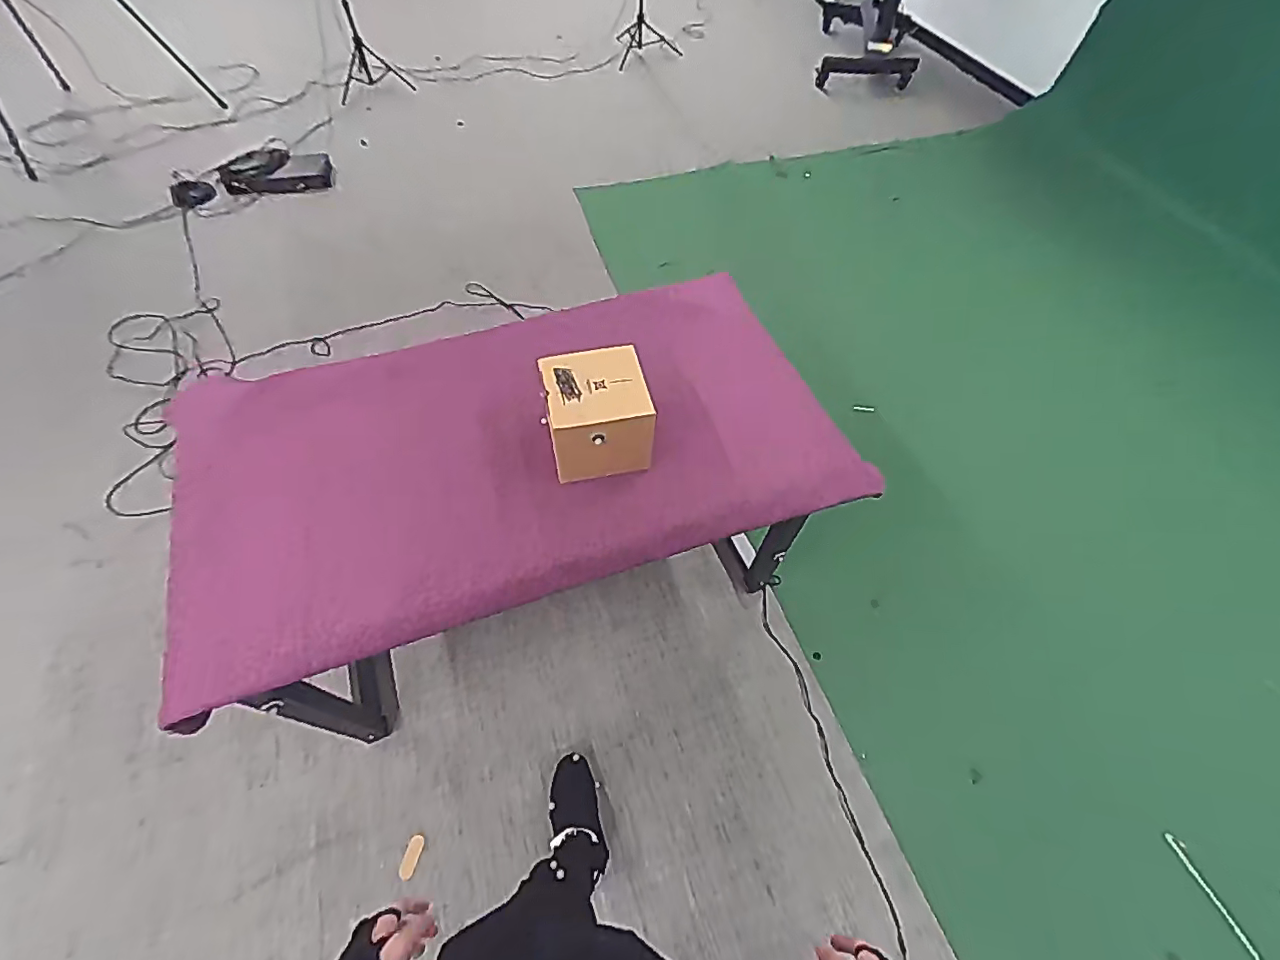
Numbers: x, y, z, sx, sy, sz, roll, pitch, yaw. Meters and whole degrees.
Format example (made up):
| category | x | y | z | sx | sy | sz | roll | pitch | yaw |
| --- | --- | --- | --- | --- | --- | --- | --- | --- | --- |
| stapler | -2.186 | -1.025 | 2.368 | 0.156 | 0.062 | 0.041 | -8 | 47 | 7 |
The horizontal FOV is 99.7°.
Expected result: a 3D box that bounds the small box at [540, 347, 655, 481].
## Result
| category | x | y | z | sx | sy | sz | roll | pitch | yaw |
| --- | --- | --- | --- | --- | --- | --- | --- | --- | --- |
| small box | -0.078 | -0.115 | 0.991 | 0.179 | 0.176 | 0.168 | -10 | 59 | -9 |
